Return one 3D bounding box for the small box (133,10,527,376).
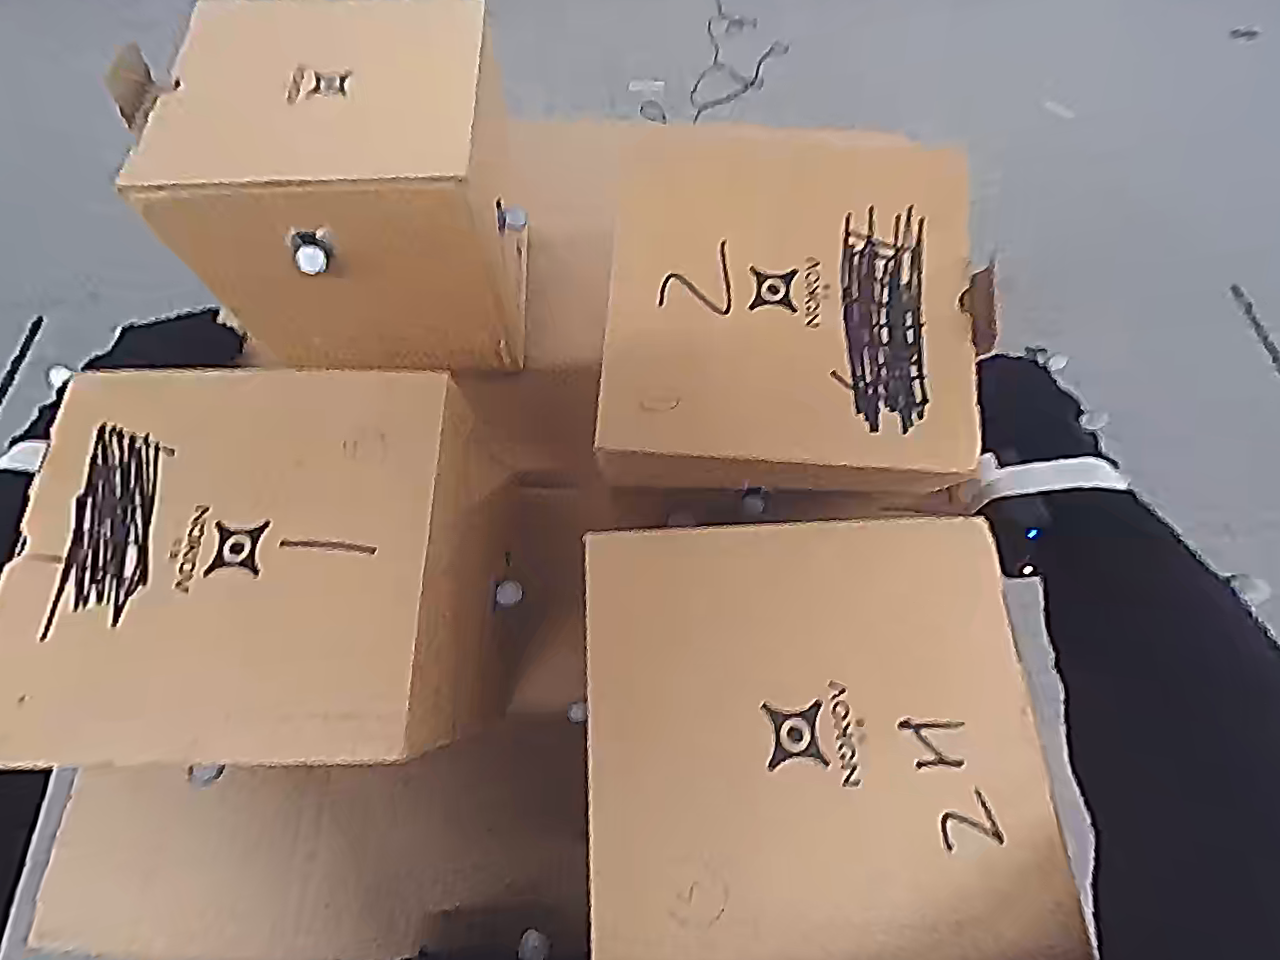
[{"bbox_3d":[-0.181,-0.190,0.387,0.179,0.176,0.168,-3,65,-1],"label":"small box"}]
